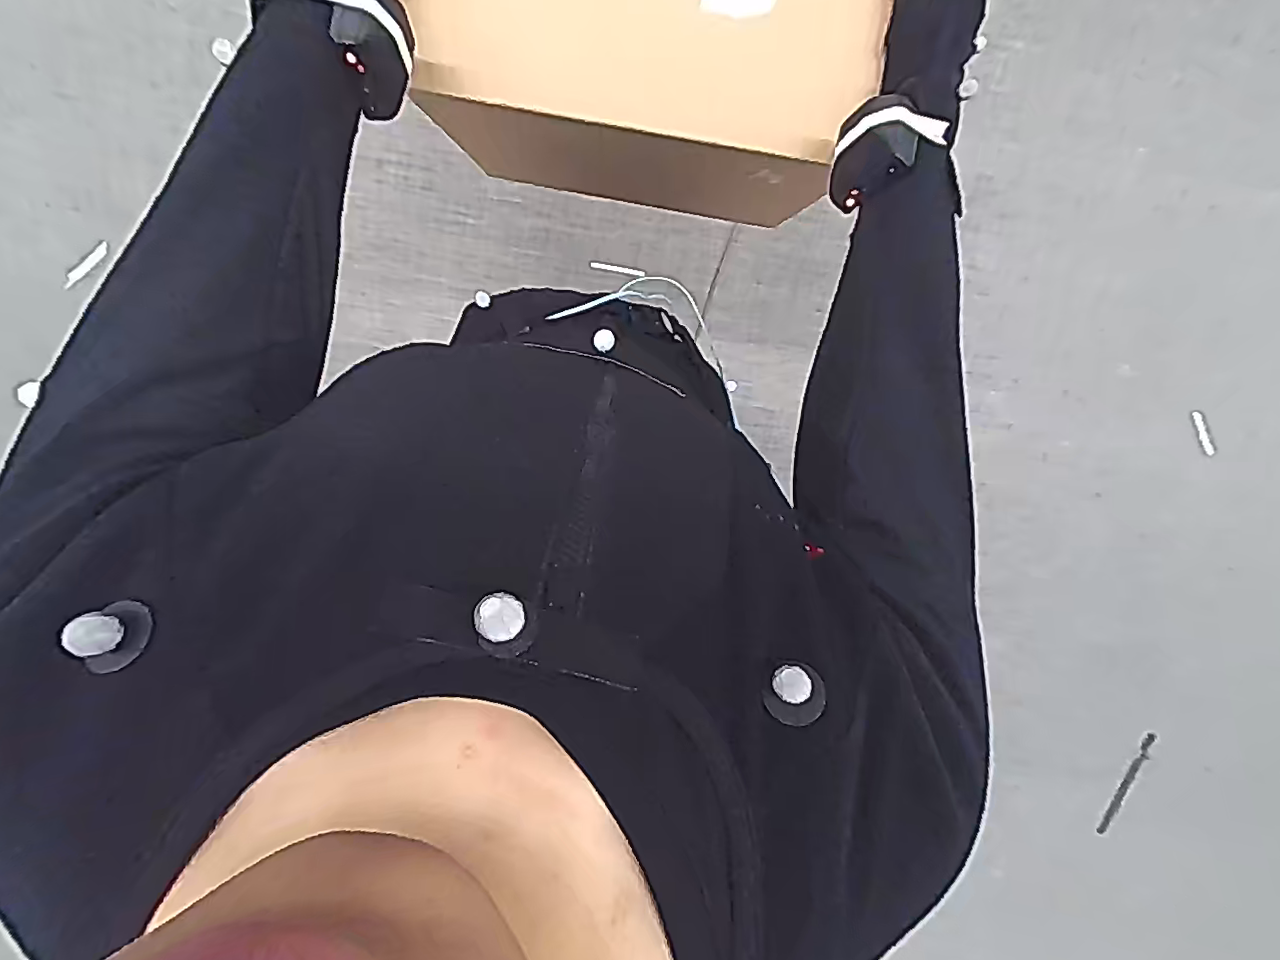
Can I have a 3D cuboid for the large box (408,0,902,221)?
[{"bbox_3d":[0.020,-0.490,0.562,0.408,0.320,0.320,9,107,-4],"label":"large box"}]
